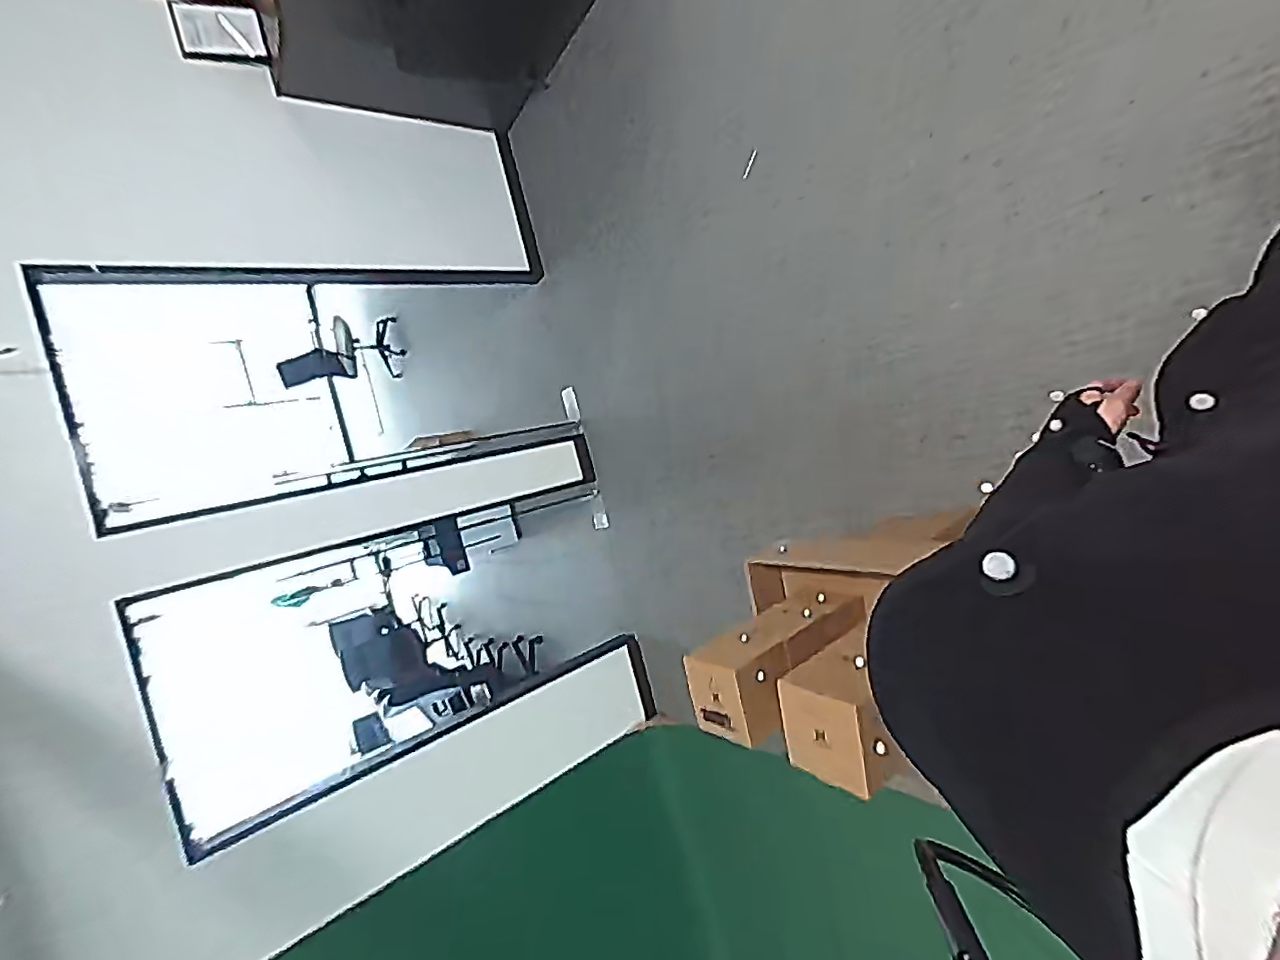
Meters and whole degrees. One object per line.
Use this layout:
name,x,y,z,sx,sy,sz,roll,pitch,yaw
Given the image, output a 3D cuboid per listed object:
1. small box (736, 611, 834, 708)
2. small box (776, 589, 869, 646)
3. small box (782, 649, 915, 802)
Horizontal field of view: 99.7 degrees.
small box,0.366,0.436,1.330,0.168,0.176,0.179,-9,96,53
small box,0.491,0.400,1.431,0.168,0.176,0.179,-6,97,53
small box,0.395,0.448,1.017,0.168,0.176,0.179,-1,101,53
